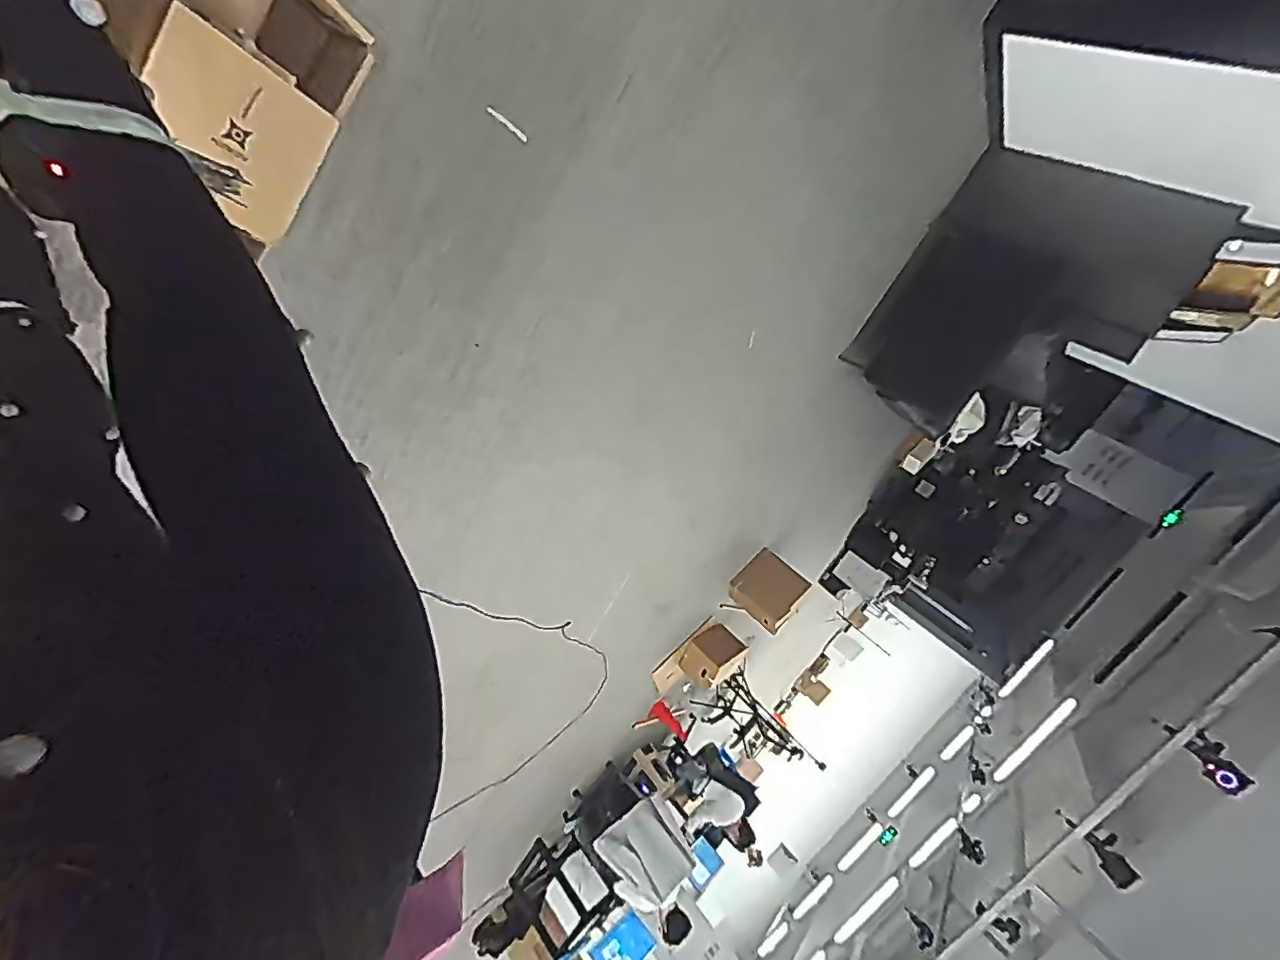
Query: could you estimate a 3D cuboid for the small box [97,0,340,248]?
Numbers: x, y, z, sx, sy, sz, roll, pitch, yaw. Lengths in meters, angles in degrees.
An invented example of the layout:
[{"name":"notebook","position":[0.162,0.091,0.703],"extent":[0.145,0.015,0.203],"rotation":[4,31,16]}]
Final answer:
[{"name":"small box","position":[-0.501,-0.419,0.642],"extent":[0.179,0.176,0.168],"rotation":[-56,149,10]}]
